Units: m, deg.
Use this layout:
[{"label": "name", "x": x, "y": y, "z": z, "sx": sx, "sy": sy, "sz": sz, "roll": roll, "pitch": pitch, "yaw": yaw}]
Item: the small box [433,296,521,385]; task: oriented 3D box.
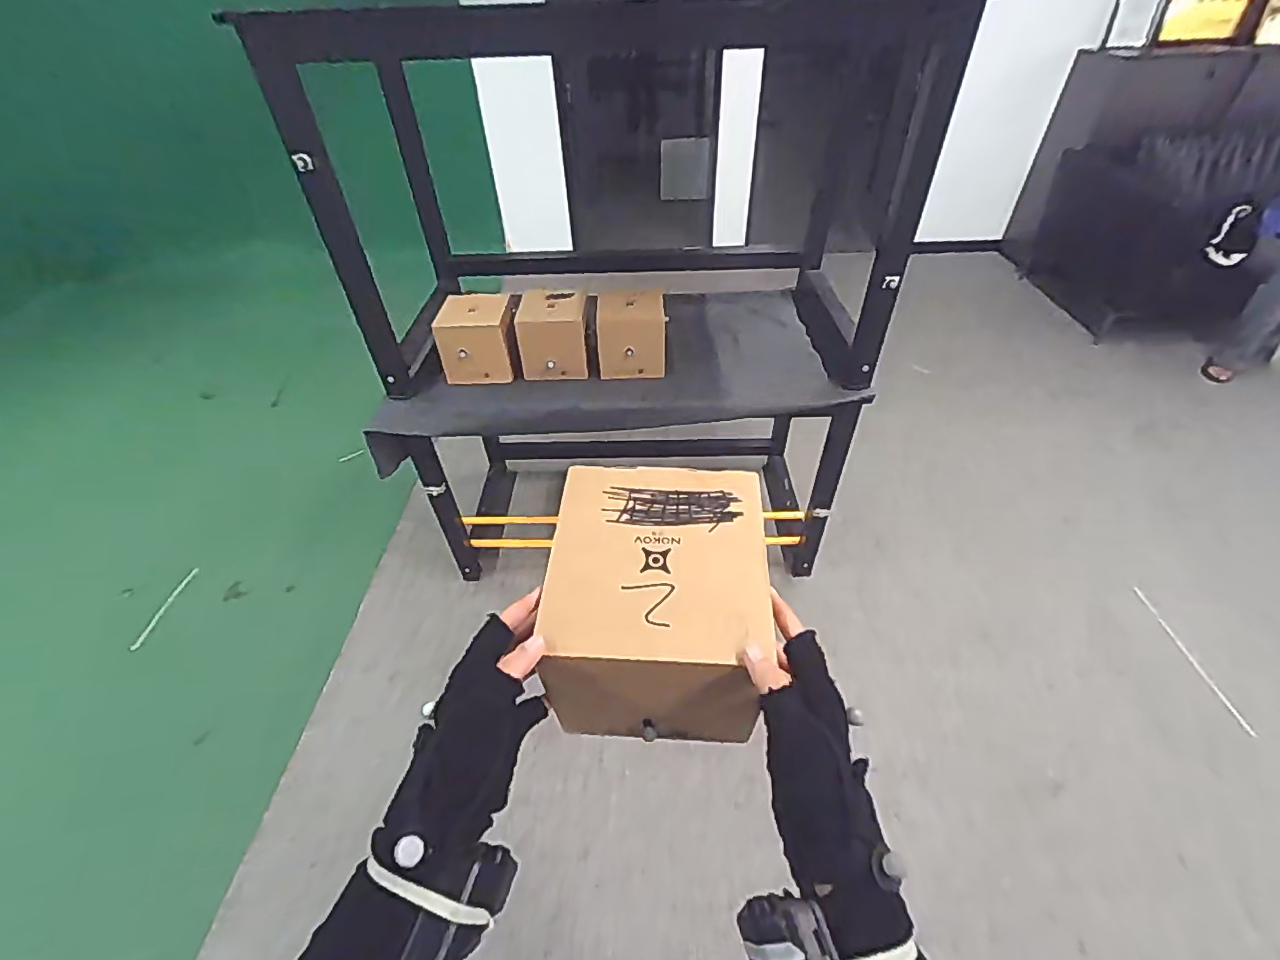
[{"label": "small box", "x": -0.411, "y": -0.357, "z": 1.397, "sx": 0.168, "sy": 0.176, "sz": 0.179, "roll": -1, "pitch": 42, "yaw": 0}]
